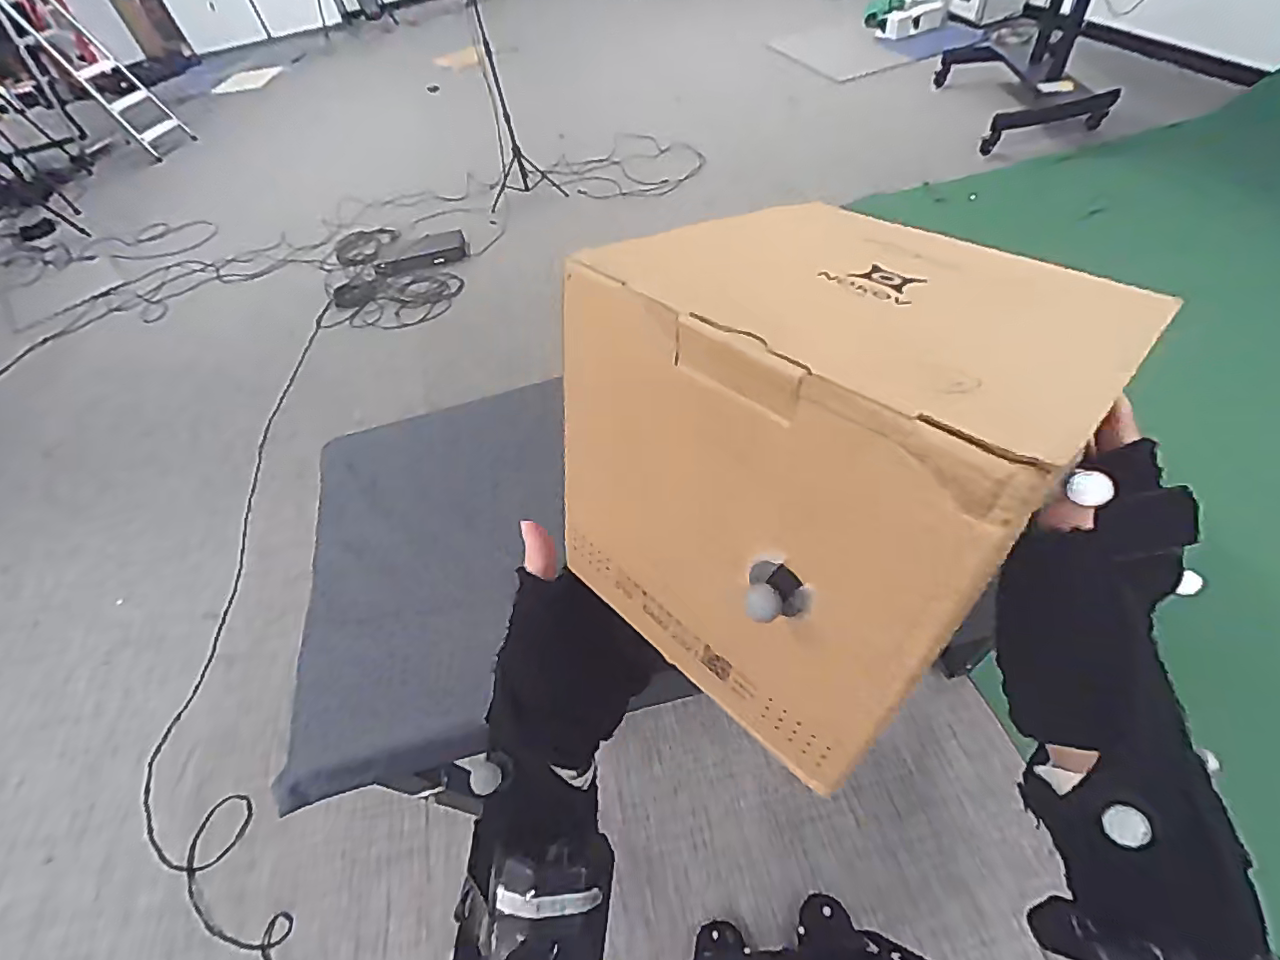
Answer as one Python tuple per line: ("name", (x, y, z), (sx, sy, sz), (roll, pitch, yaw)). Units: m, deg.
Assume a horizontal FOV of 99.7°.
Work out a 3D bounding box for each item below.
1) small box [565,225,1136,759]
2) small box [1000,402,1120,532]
("small box", (0.082, -0.009, 0.265), (0.179, 0.176, 0.168), (-29, 50, -37))
("small box", (0.474, -0.036, 0.740), (0.168, 0.176, 0.179), (-19, 50, -5))
